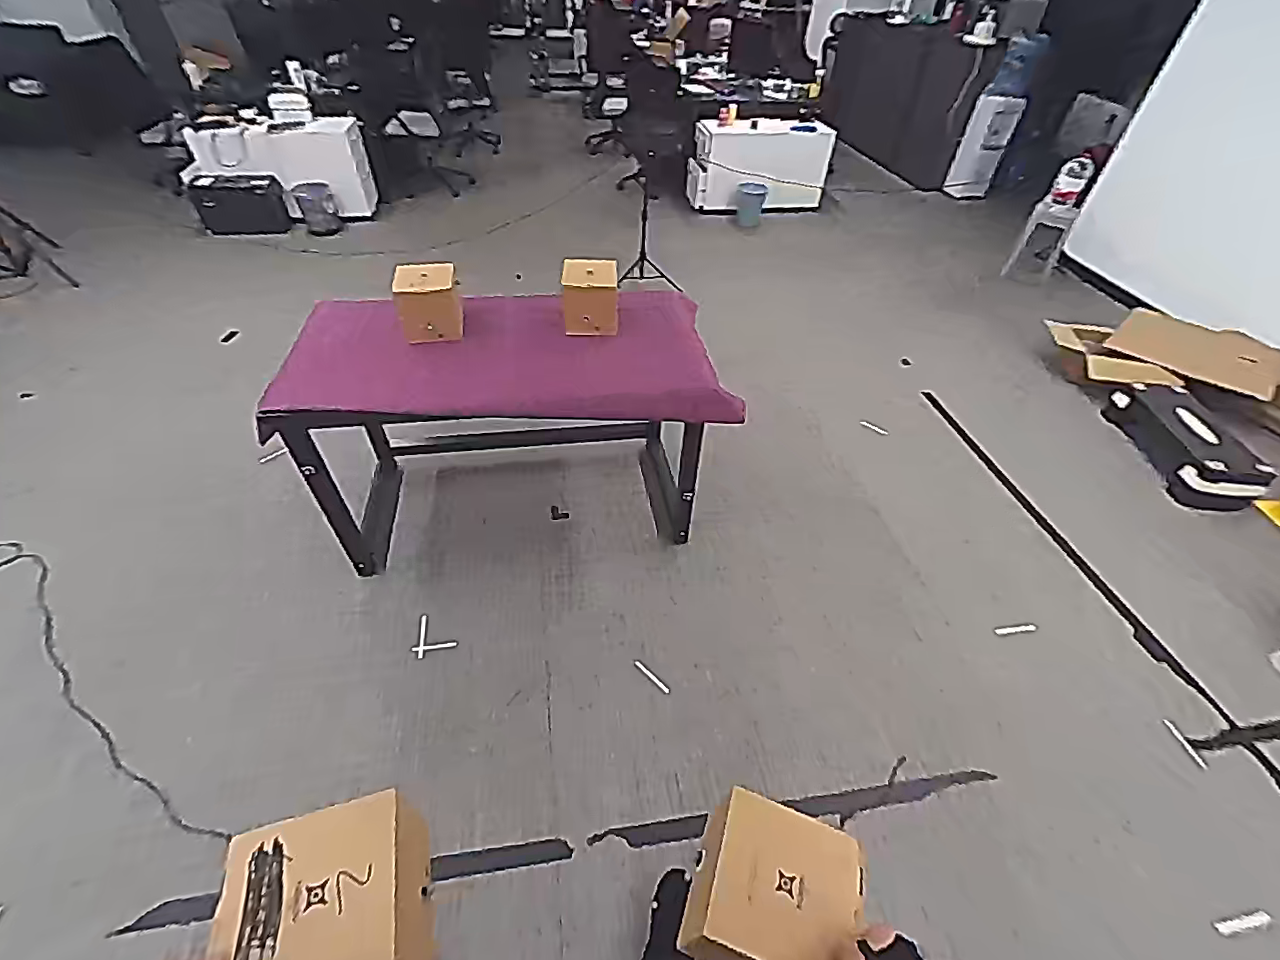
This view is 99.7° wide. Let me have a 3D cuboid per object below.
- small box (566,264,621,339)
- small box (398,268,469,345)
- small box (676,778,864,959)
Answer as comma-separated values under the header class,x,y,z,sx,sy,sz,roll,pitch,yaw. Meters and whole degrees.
class,x,y,z,sx,sy,sz,roll,pitch,yaw
small box,-0.144,-0.570,1.723,0.168,0.176,0.179,0,46,-3
small box,-0.626,-0.532,1.659,0.168,0.176,0.179,-7,46,-10
small box,0.163,0.525,0.695,0.179,0.176,0.168,20,44,8
